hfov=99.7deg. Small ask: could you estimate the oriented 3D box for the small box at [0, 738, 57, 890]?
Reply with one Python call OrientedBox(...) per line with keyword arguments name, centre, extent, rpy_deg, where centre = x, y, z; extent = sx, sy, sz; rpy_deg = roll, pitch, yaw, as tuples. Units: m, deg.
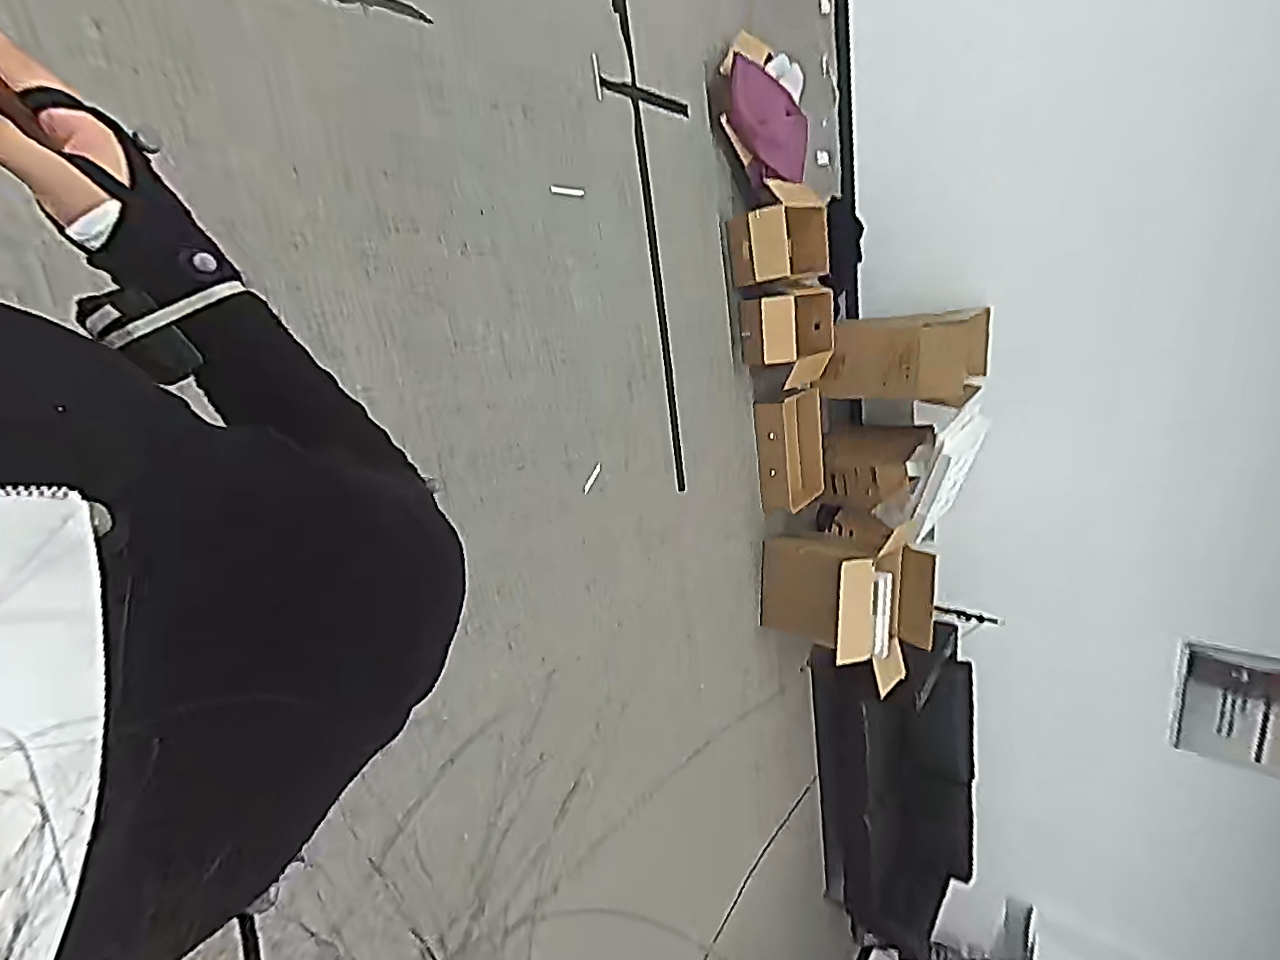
OrientedBox(name="small box", centre=(-1.090, 0.563, 0.875), extent=(0.168, 0.176, 0.179), rpy_deg=(-24, 112, -43))
